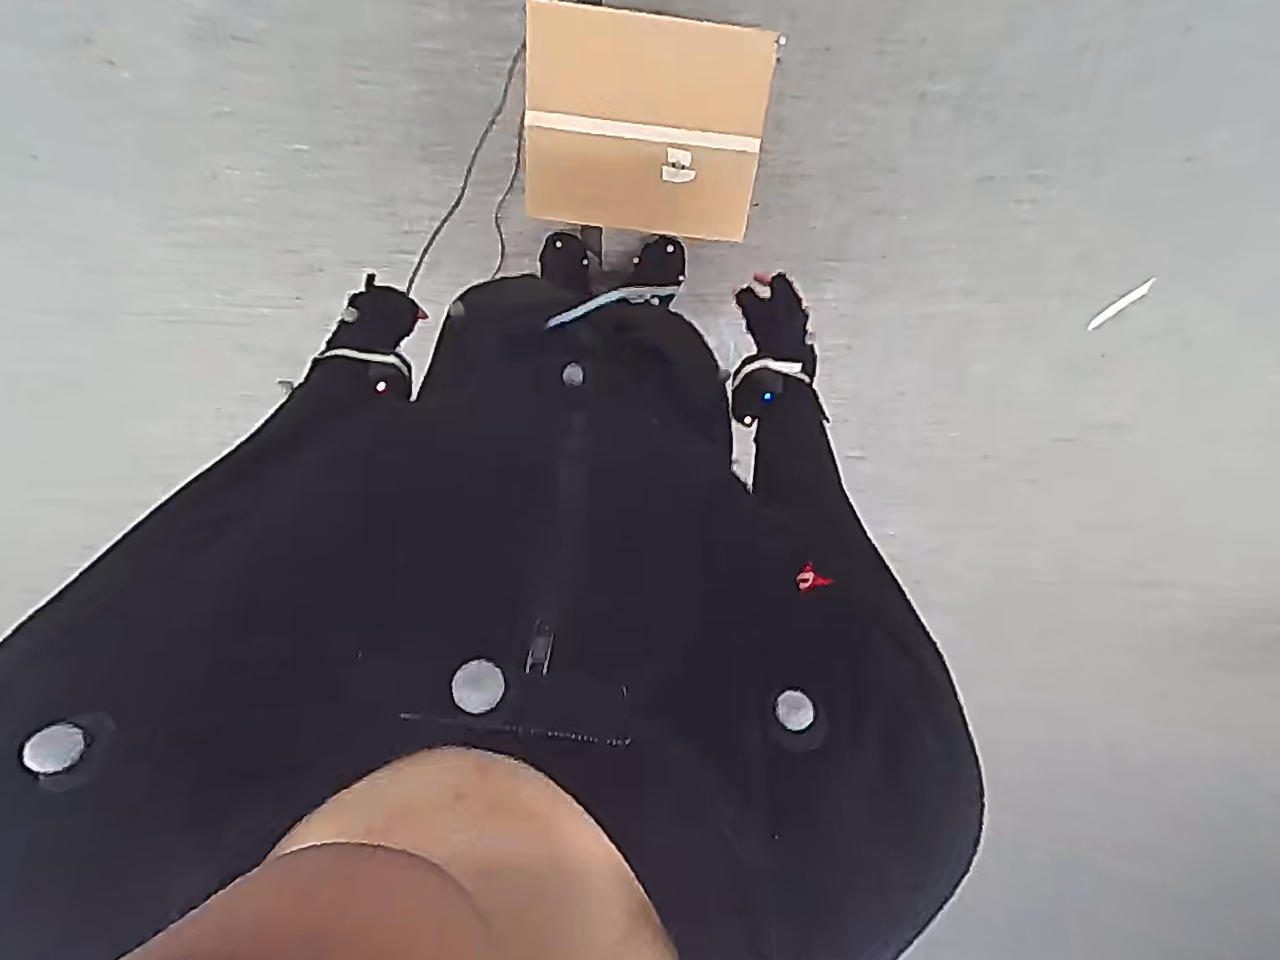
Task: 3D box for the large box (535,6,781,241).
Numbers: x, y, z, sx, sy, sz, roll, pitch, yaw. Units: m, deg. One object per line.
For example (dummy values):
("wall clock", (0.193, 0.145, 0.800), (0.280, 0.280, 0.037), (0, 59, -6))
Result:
("large box", (0.014, -0.672, 1.067), (0.408, 0.320, 0.320), (5, 120, -4))
